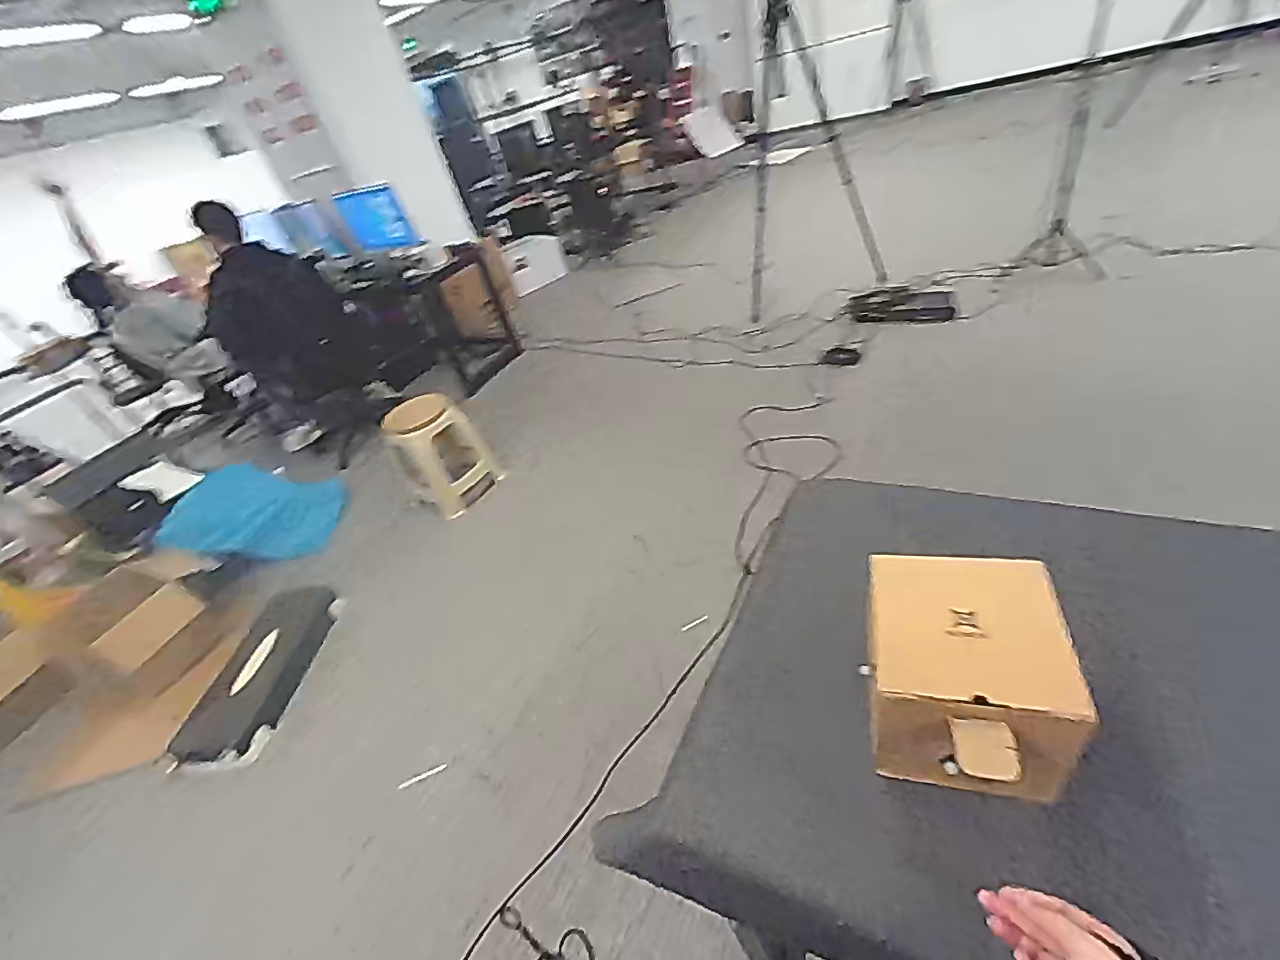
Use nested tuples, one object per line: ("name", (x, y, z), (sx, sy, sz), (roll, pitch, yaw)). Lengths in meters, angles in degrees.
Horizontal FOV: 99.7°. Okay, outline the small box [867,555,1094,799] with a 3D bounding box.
("small box", (0.338, 0.204, 0.581), (0.168, 0.176, 0.179), (0, 40, 20))
